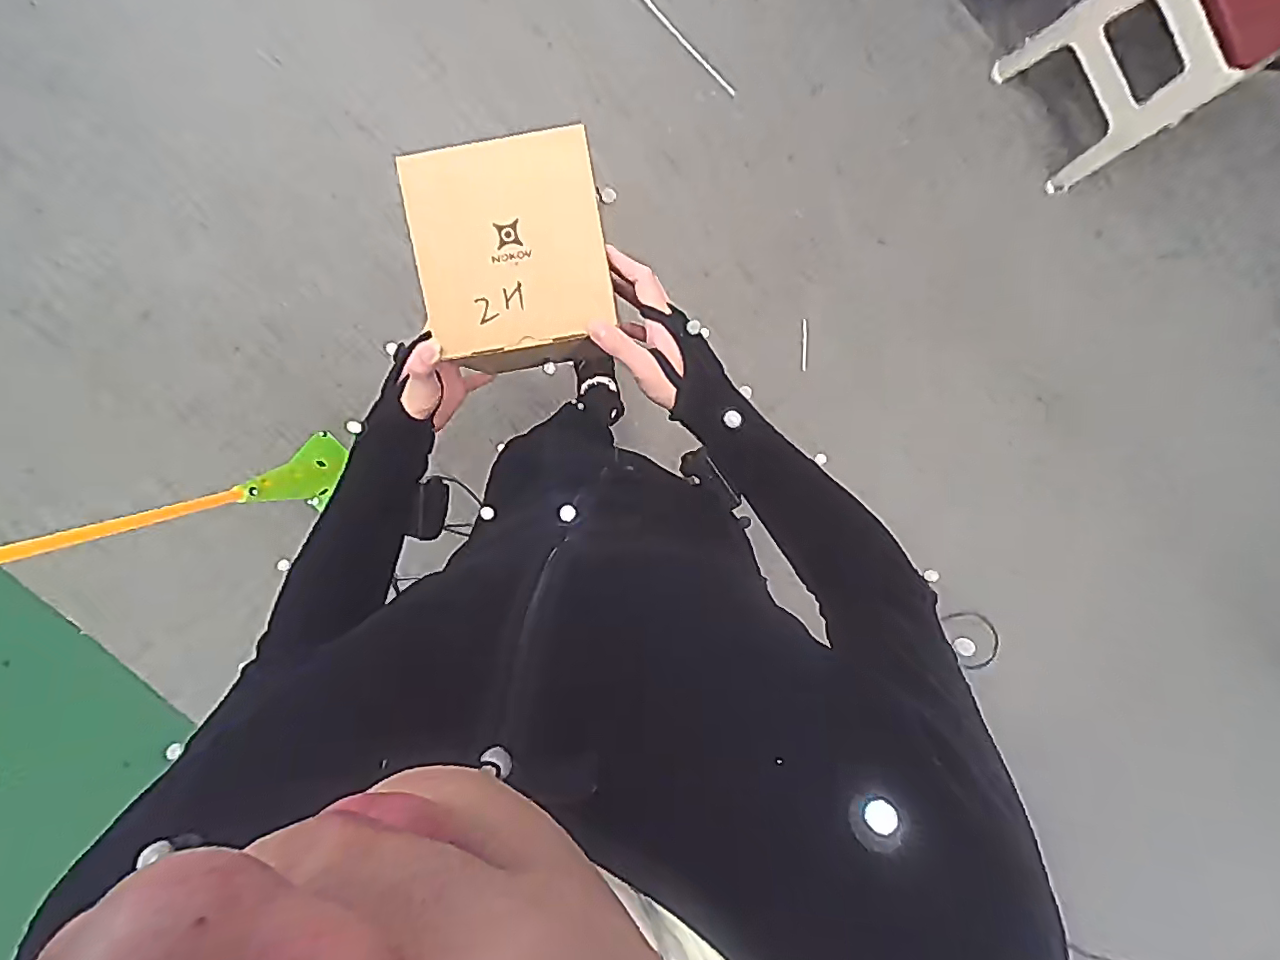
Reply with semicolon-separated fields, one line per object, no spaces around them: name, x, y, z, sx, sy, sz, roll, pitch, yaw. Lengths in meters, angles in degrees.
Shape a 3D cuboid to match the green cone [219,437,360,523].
green cone;-0.950;0.029;1.411;0.200;0.368;0.202;-44;97;7
